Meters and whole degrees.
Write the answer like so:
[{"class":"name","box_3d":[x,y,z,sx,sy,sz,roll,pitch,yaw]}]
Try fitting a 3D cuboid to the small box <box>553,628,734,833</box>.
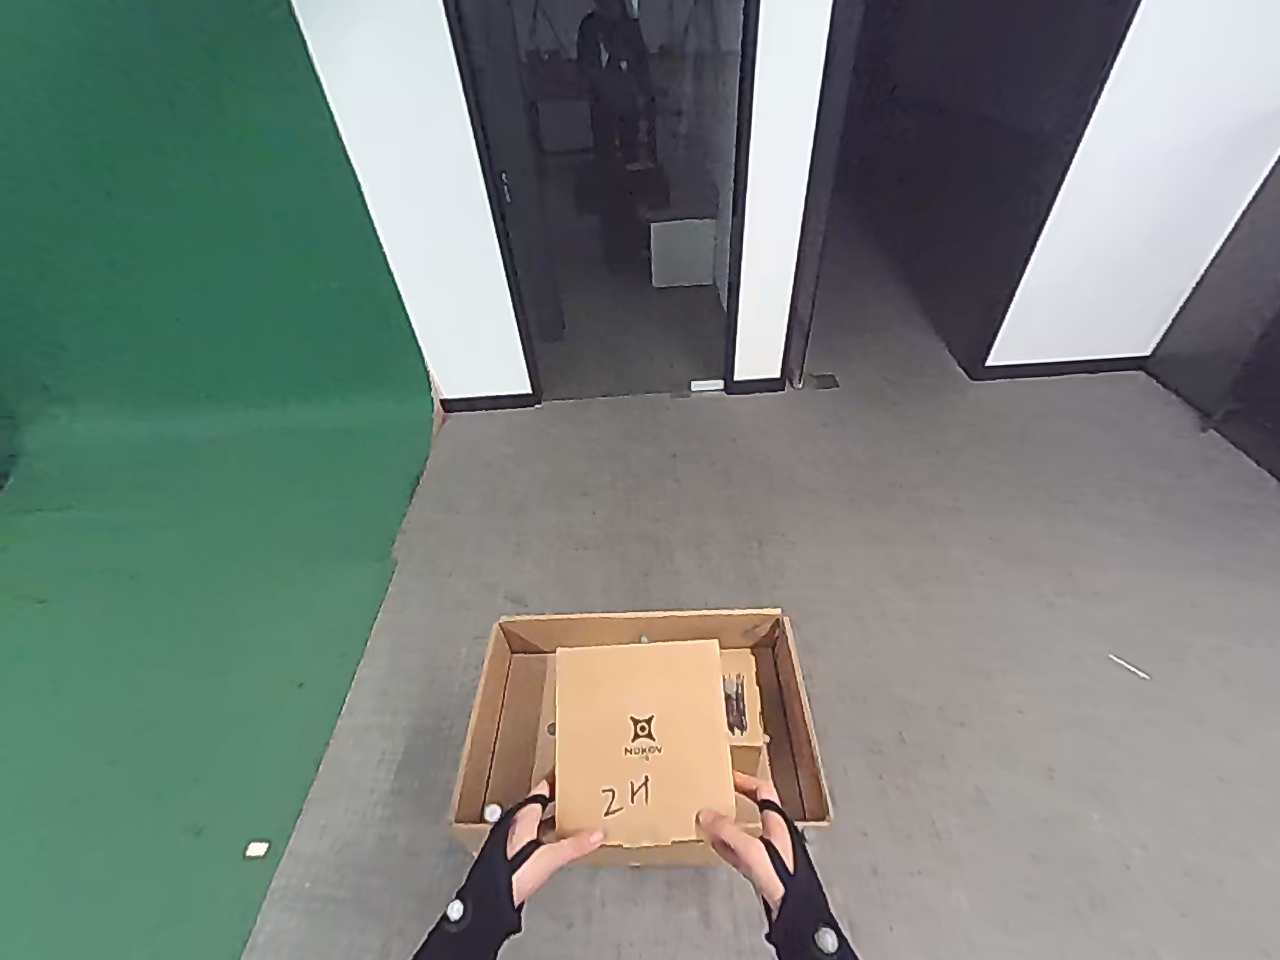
[{"class":"small box","box_3d":[0.003,0.264,0.587,0.168,0.176,0.179,-3,68,1]}]
